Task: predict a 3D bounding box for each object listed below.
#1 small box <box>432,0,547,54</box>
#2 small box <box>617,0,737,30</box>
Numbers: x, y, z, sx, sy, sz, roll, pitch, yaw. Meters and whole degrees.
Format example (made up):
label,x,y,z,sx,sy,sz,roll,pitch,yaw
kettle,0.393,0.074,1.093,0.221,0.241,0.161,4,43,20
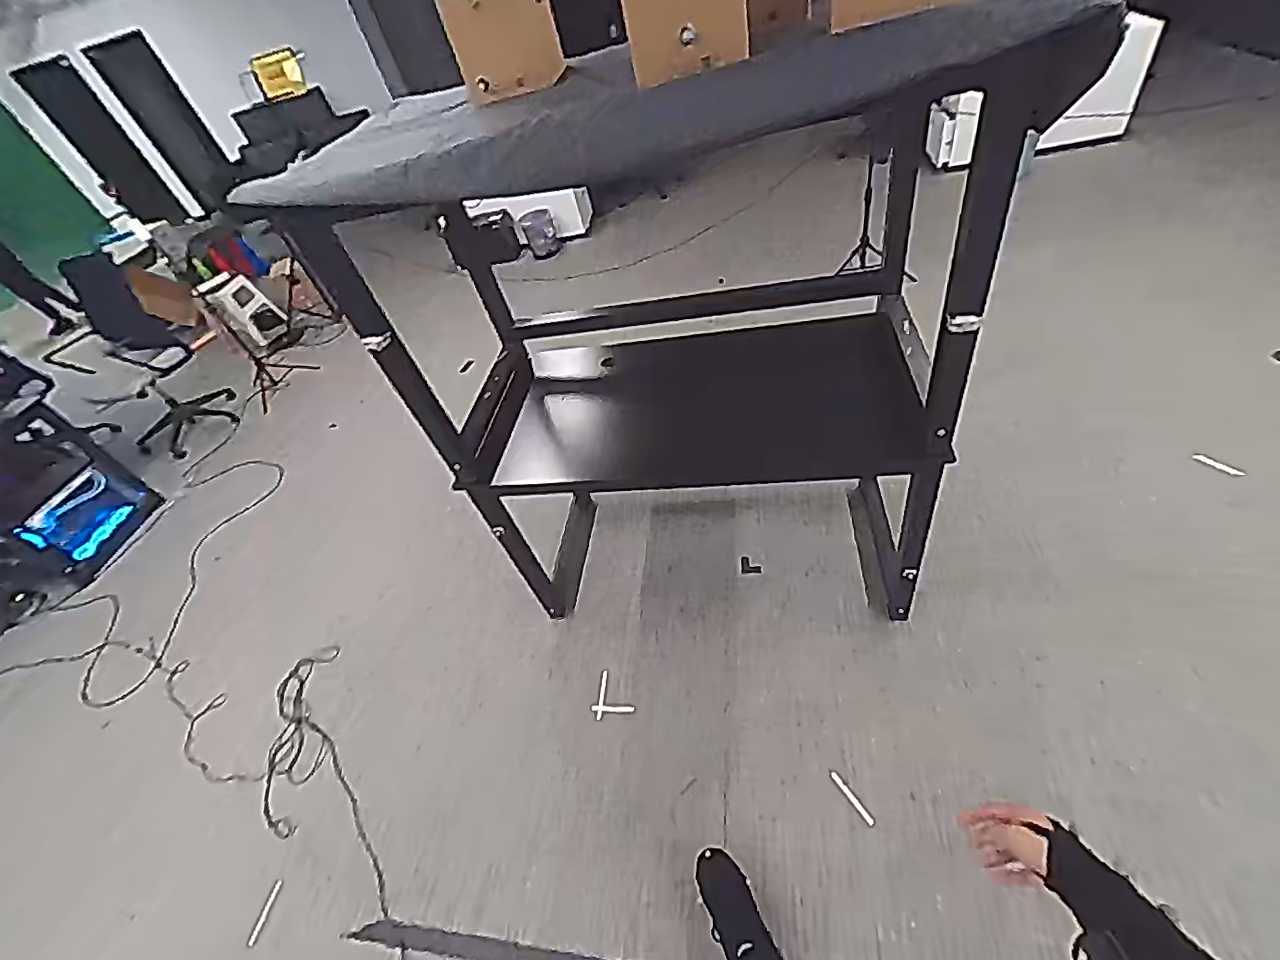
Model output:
label,x,y,z,sx,sy,sz,roll,pitch,yaw
small box,-0.282,-0.909,0.988,0.168,0.176,0.179,-6,46,10
small box,0.041,-0.752,0.747,0.168,0.176,0.179,-8,46,10
